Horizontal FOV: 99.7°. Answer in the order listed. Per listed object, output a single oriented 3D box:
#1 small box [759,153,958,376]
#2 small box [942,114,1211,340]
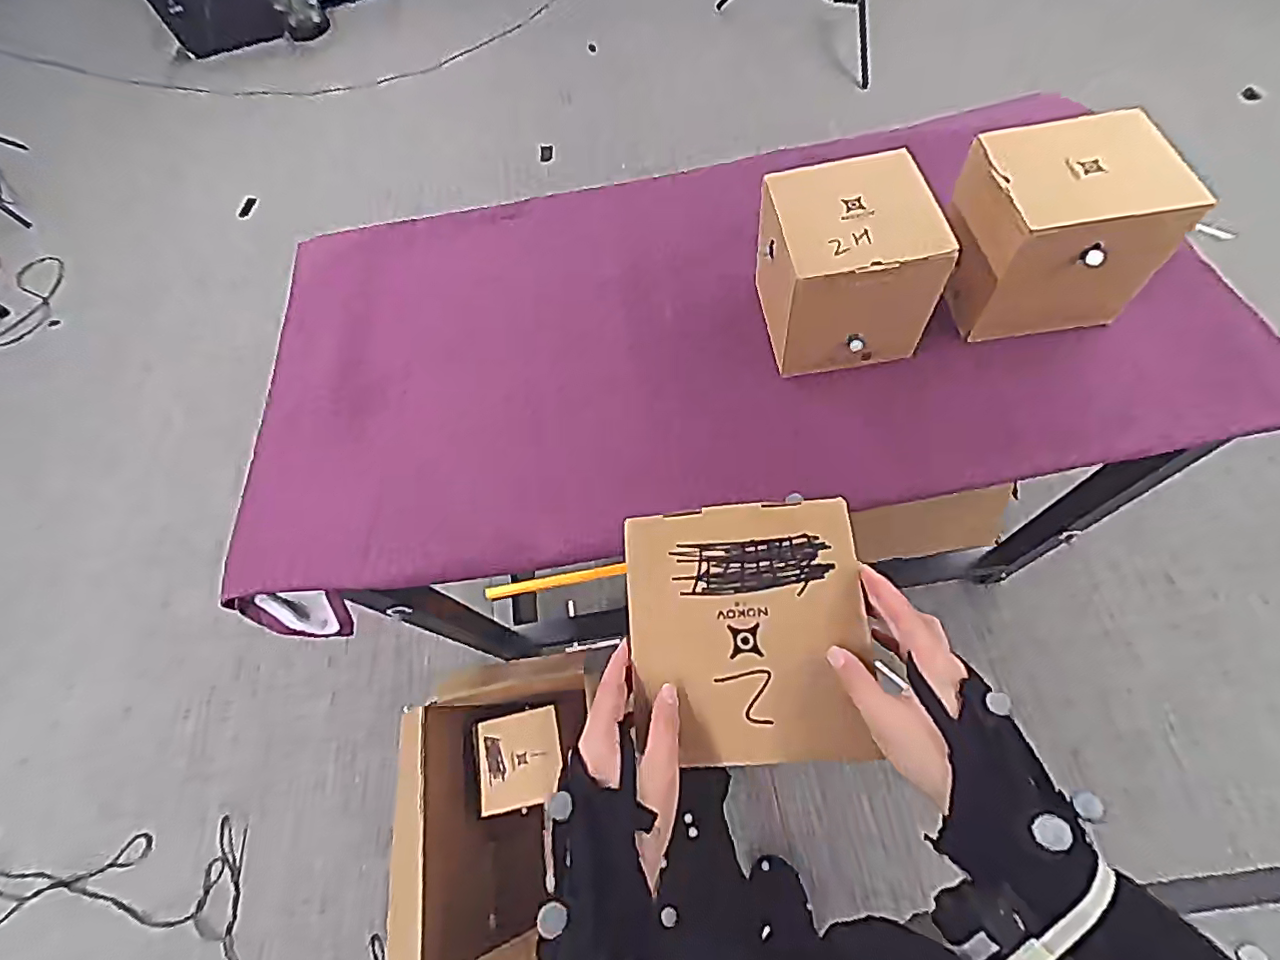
[{"bbox_3d":[0.245,-0.255,0.660,0.168,0.176,0.179,-8,63,5],"label":"small box"},{"bbox_3d":[0.483,-0.290,0.644,0.179,0.176,0.168,-6,62,6],"label":"small box"}]
